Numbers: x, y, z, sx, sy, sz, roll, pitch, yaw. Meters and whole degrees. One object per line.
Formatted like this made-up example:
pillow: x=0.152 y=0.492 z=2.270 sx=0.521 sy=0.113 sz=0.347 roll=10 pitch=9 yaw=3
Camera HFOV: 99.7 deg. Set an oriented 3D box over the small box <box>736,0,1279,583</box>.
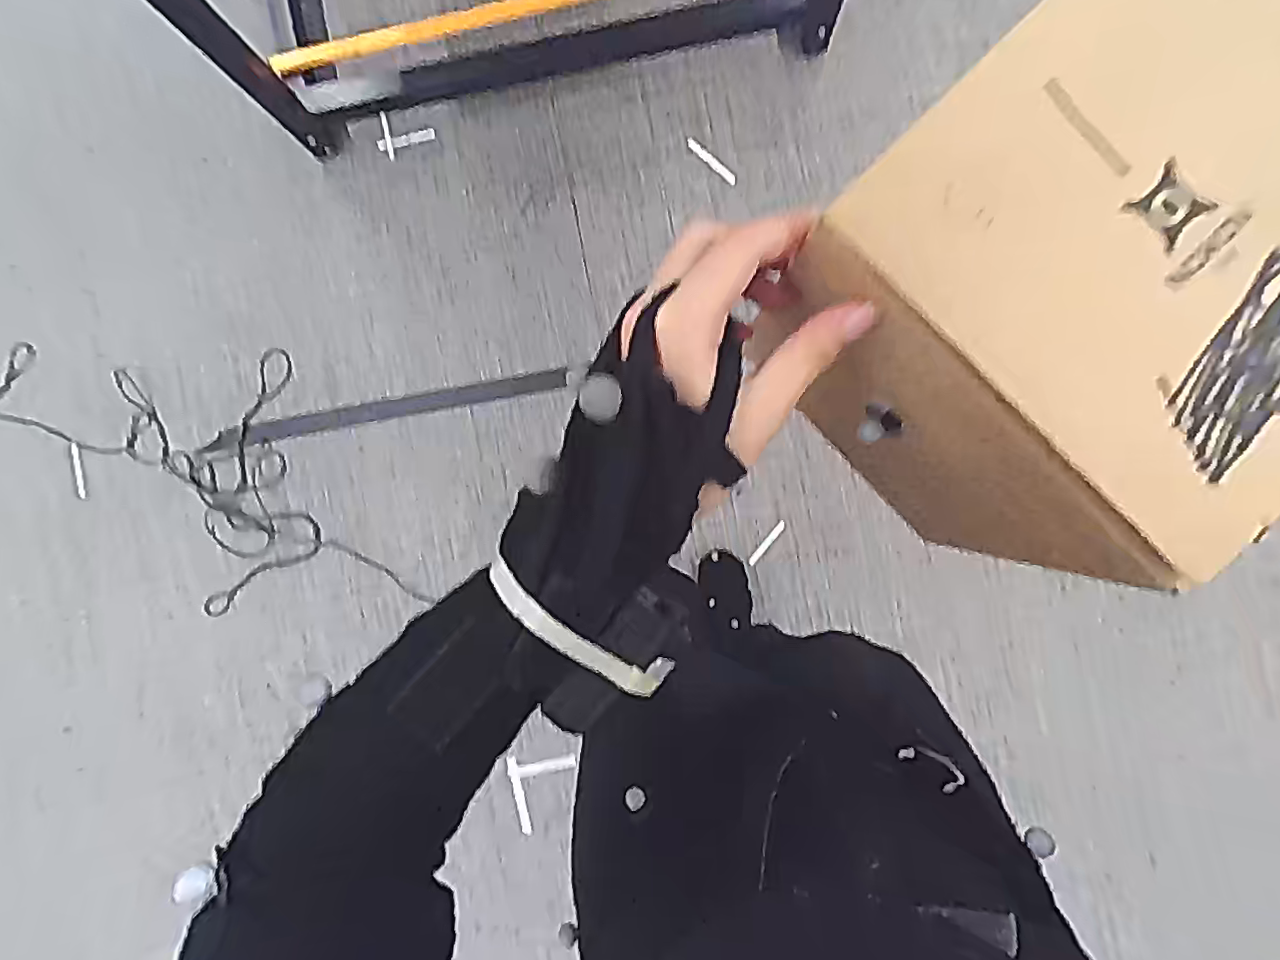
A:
small box: x=0.169 y=-0.082 z=0.253 sx=0.168 sy=0.176 sz=0.179 roll=-44 pitch=88 yaw=0
